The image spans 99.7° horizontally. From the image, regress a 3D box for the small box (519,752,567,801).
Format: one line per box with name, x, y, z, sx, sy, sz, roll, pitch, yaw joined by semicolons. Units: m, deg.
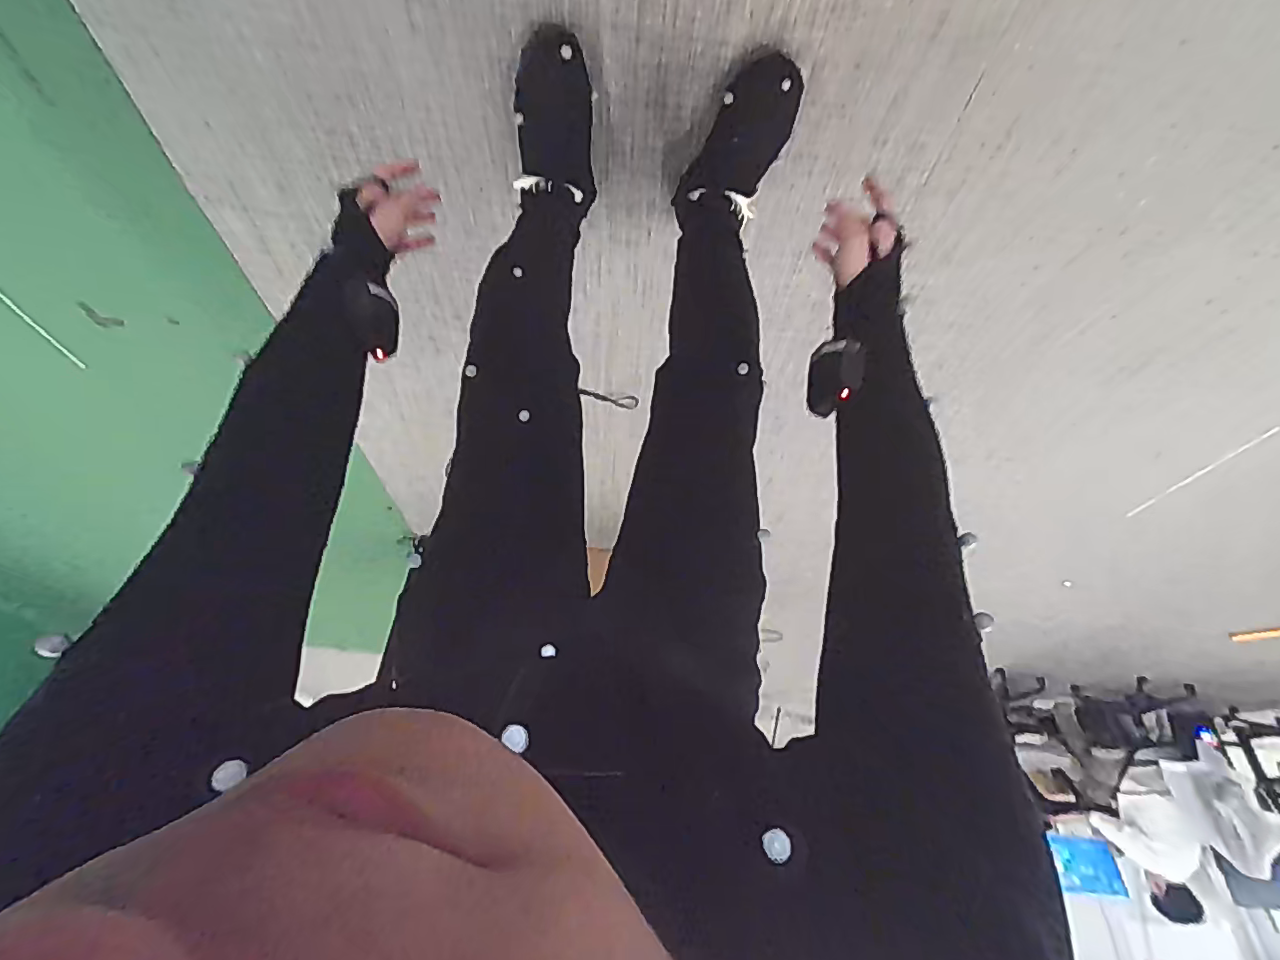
small box;-0.395;1.206;2.214;0.168;0.176;0.179;6;146;-1
